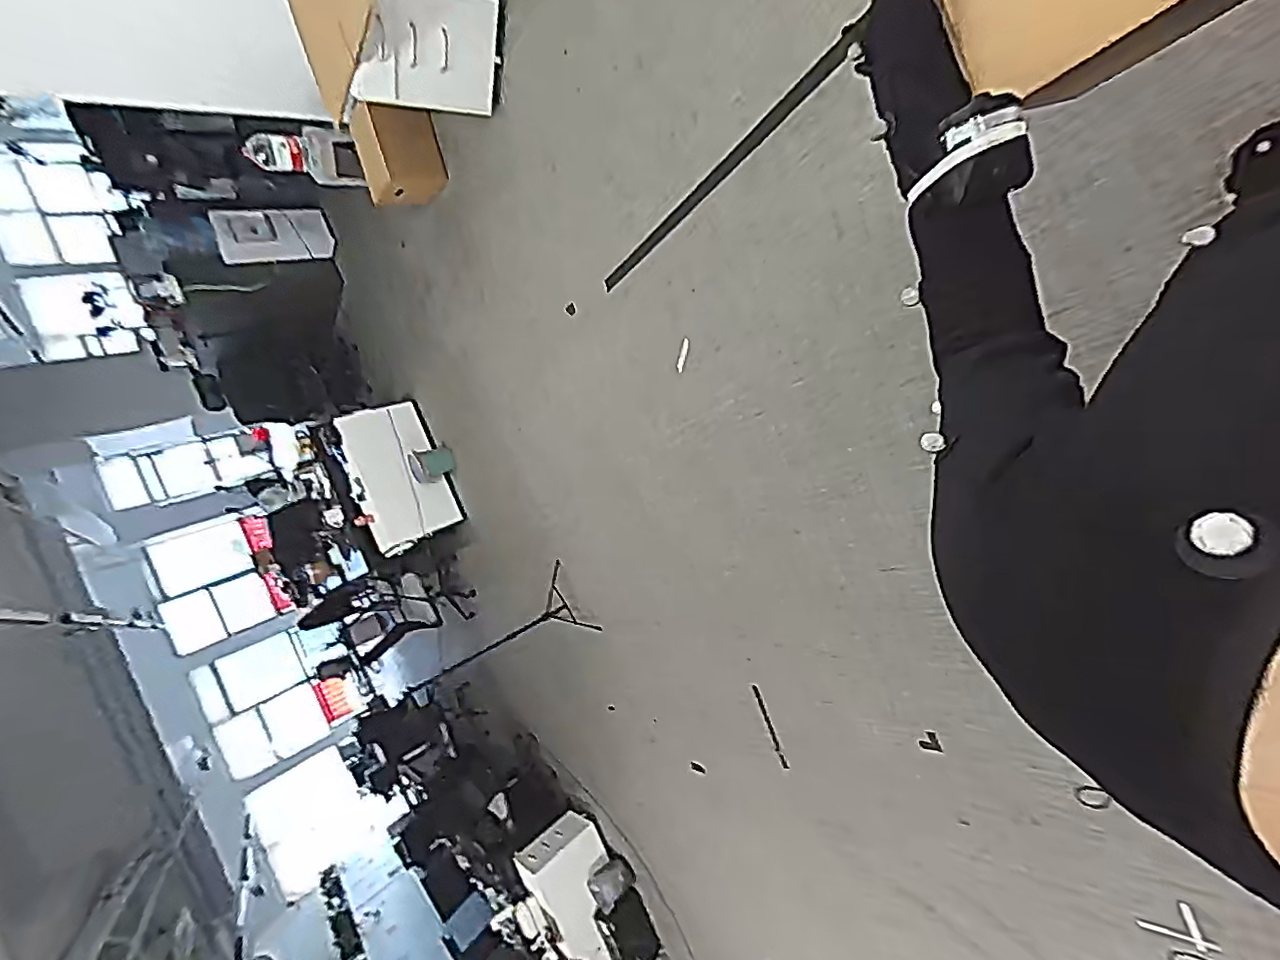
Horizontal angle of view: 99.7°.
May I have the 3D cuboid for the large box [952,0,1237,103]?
[{"bbox_3d":[0.418,-0.519,0.327,0.408,0.320,0.320,-15,106,53],"label":"large box"}]
